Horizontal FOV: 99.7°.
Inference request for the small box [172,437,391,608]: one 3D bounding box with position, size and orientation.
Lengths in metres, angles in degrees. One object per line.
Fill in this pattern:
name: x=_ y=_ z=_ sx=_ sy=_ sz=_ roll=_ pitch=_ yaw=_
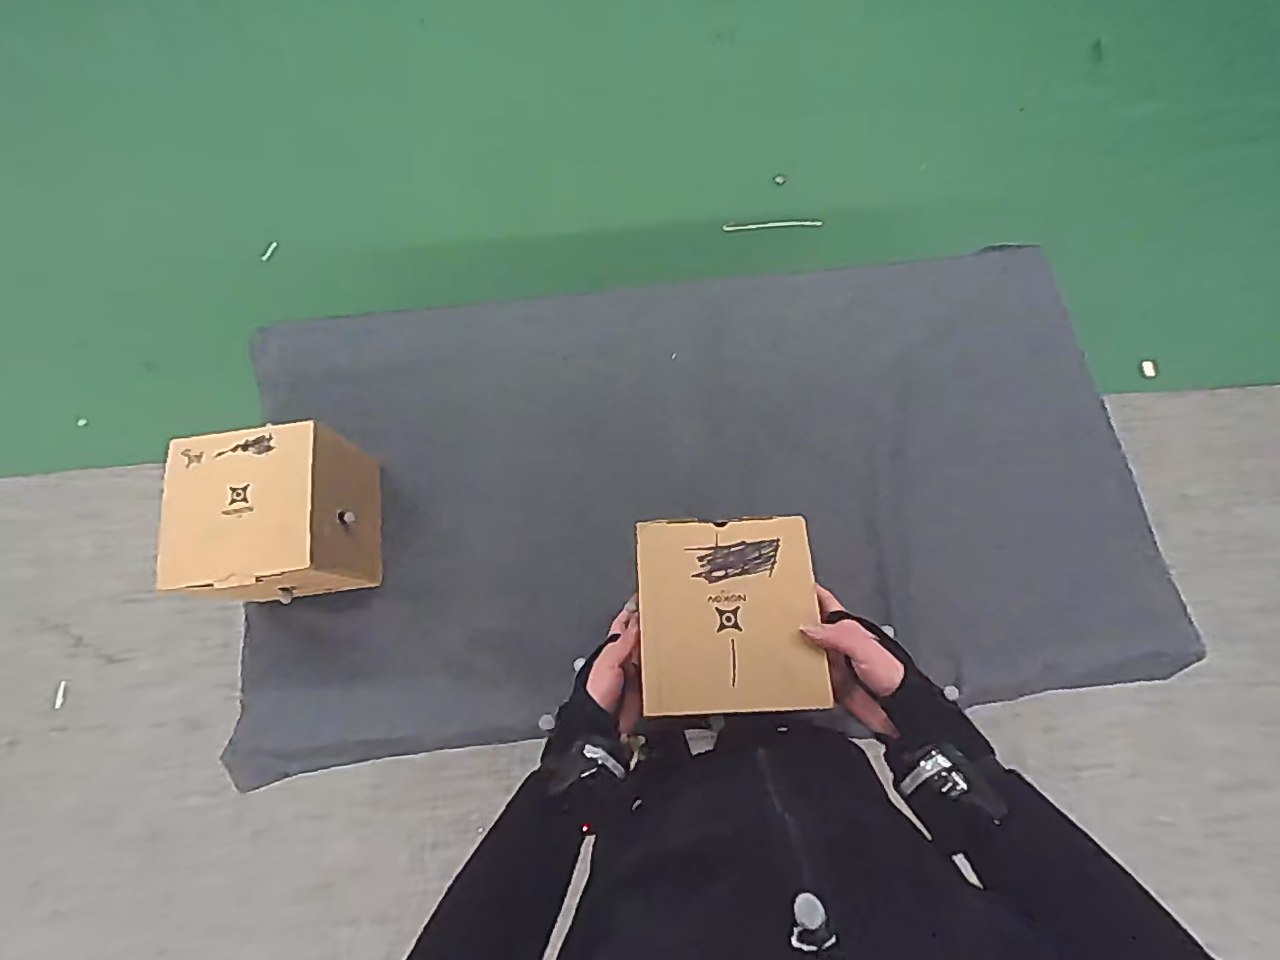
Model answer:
small box: x=-0.428 y=0.064 z=0.676 sx=0.168 sy=0.176 sz=0.179 roll=-8 pitch=74 yaw=-2
